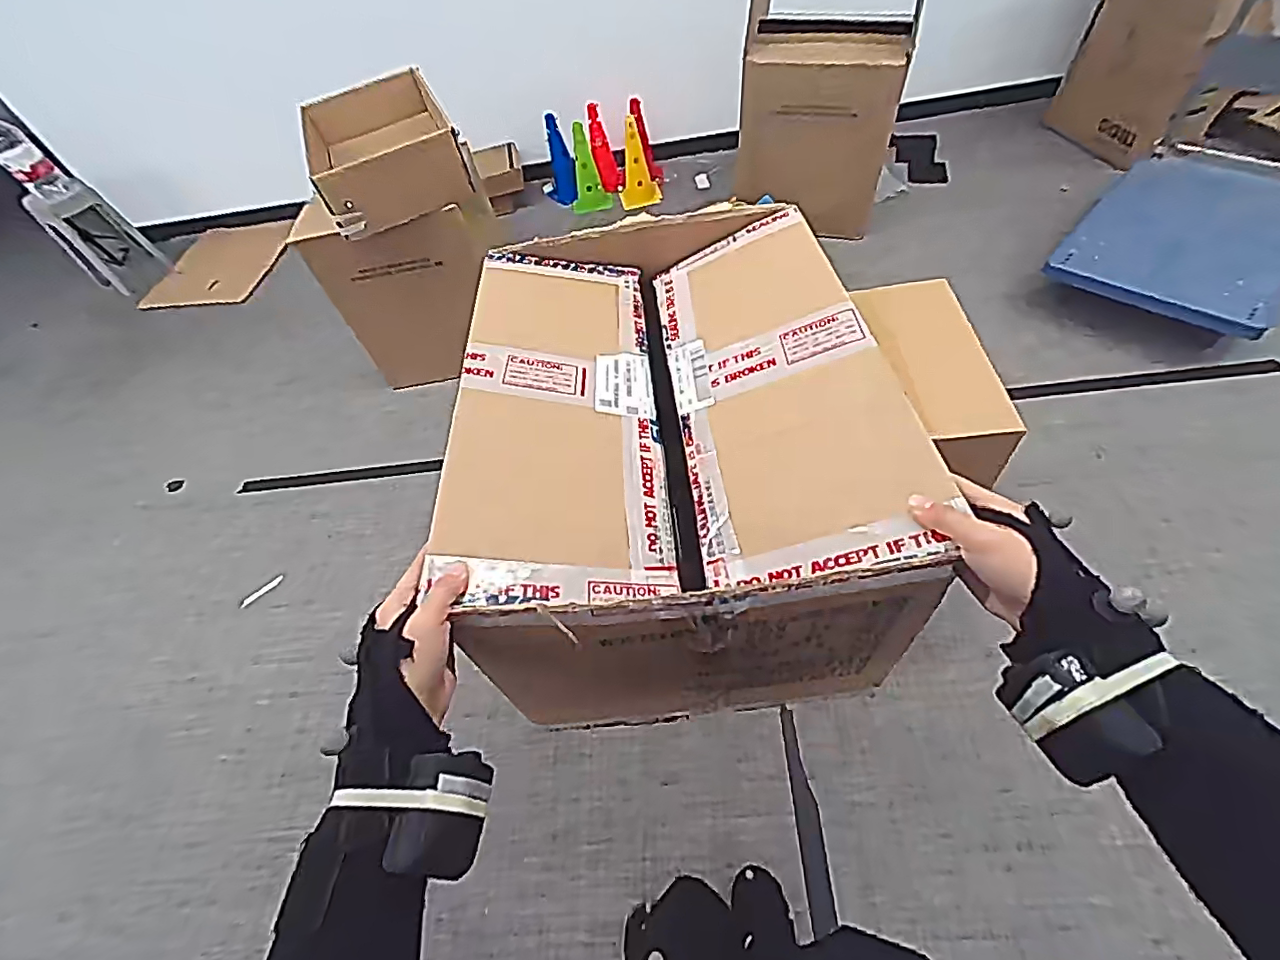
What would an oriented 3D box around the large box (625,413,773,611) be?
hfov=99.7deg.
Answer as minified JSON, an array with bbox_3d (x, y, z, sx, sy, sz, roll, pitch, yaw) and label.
[{"bbox_3d":[0.144,0.088,1.410,0.320,0.320,0.408,-7,55,5],"label":"large box"}]
